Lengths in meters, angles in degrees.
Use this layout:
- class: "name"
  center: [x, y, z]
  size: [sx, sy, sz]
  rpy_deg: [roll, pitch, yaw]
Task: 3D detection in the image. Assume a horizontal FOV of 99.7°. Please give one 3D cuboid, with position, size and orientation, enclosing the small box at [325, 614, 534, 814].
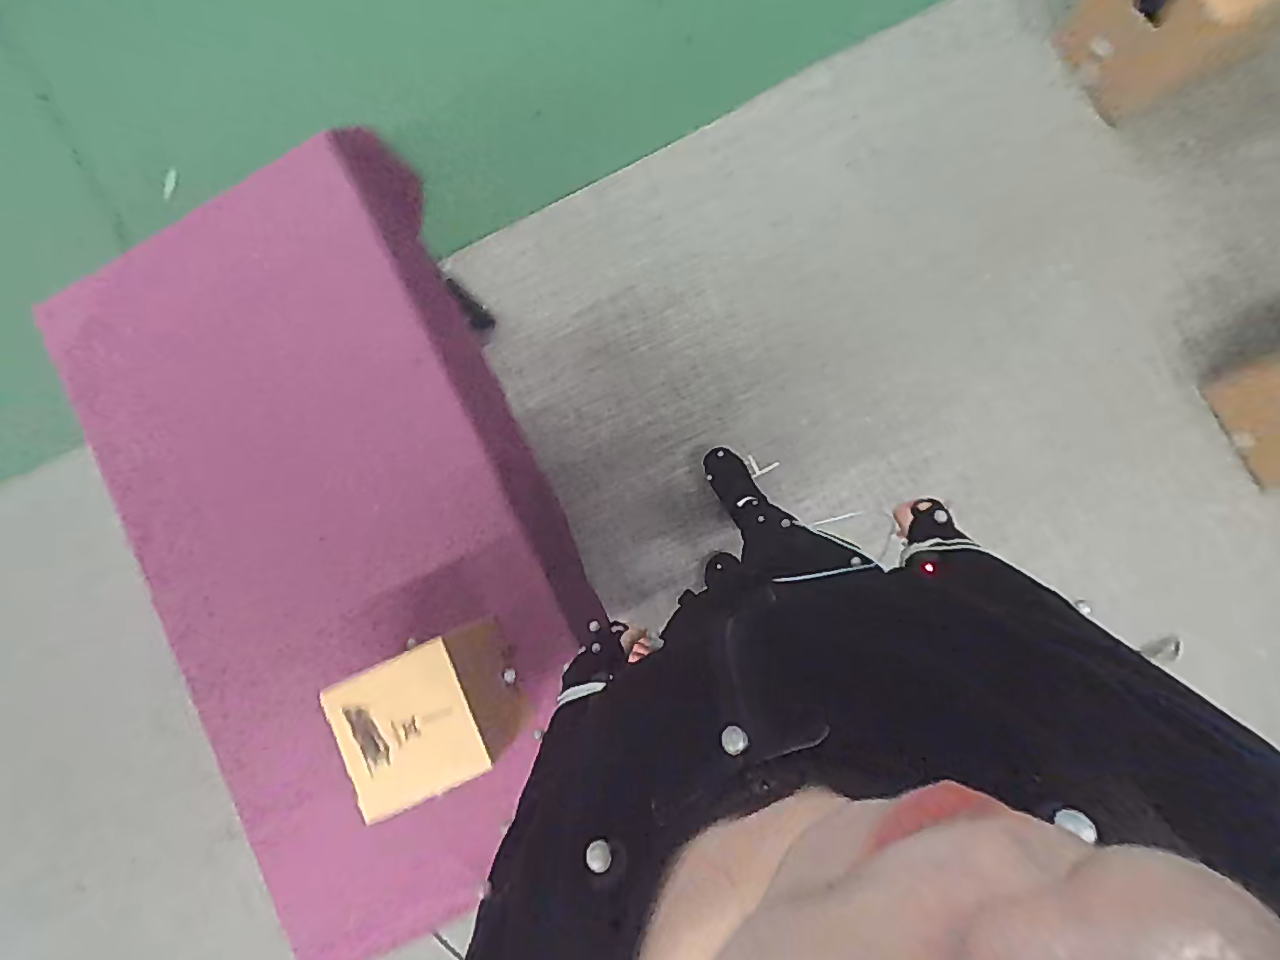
- class: "small box"
  center: [-0.271, 0.301, 0.732]
  size: [0.179, 0.176, 0.168]
  rpy_deg: [-26, 84, 3]

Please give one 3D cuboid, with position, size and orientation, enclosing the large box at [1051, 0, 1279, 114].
- class: "large box"
  center: [1.347, -1.210, 1.310]
  size: [0.408, 0.320, 0.320]
  rpy_deg: [-27, 84, 3]
